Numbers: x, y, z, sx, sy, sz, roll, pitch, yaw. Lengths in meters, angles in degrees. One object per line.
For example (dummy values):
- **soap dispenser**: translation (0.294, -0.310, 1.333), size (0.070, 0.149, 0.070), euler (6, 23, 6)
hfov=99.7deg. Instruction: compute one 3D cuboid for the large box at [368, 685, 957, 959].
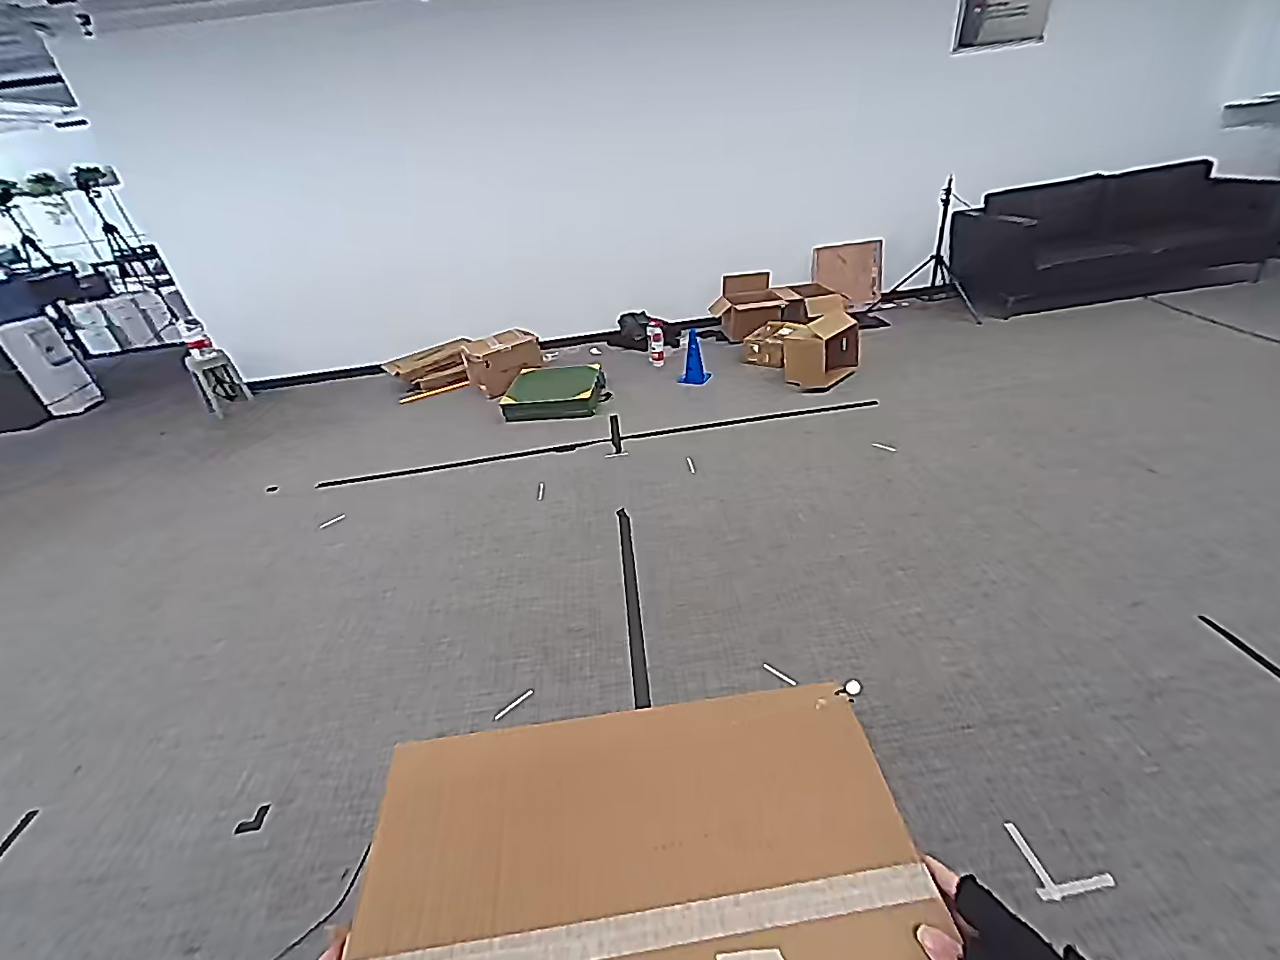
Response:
- **large box**: translation (0.013, 0.427, 0.473), size (0.408, 0.320, 0.320), euler (-6, 39, -4)
